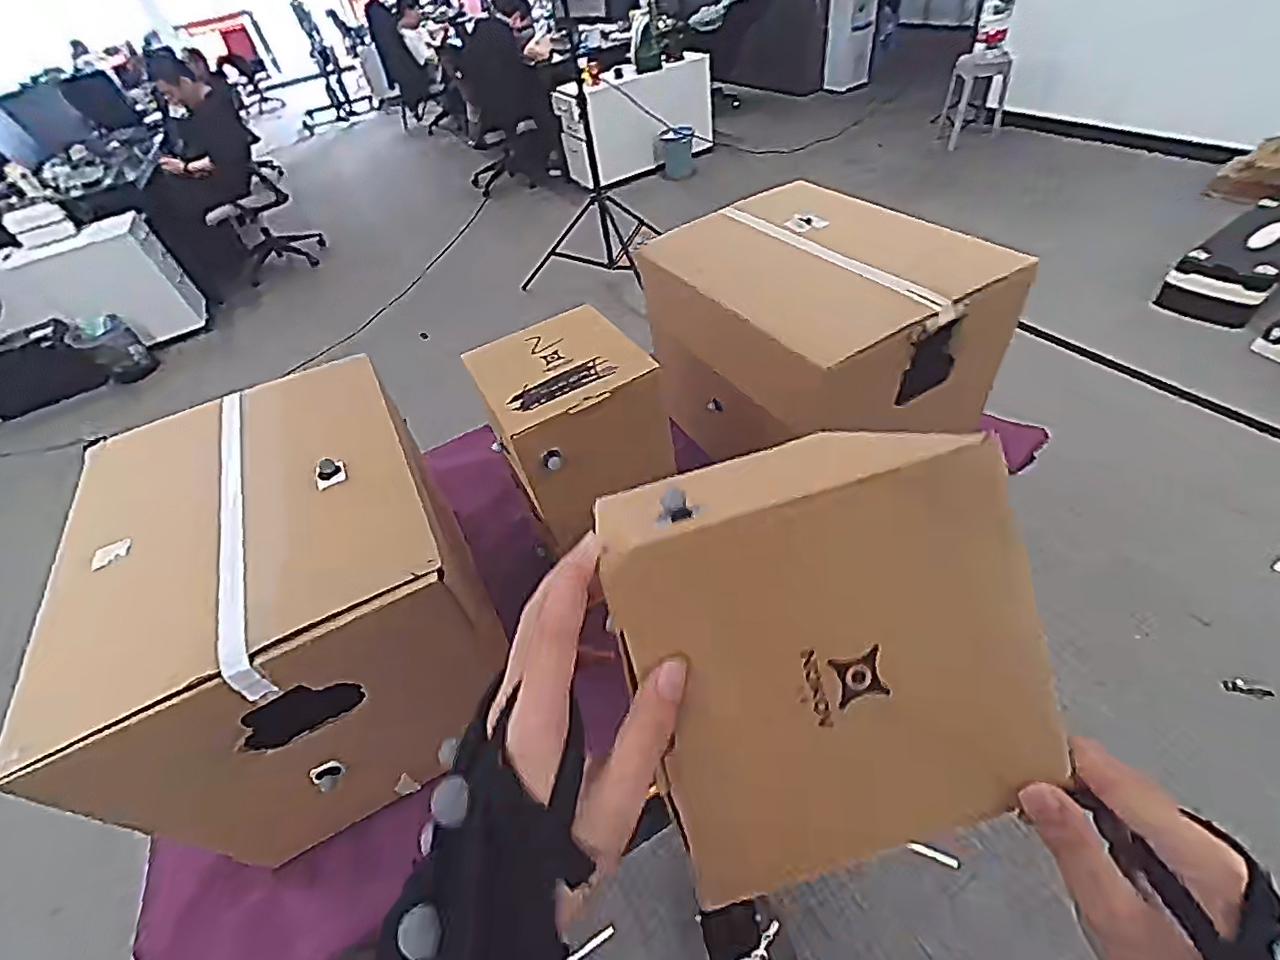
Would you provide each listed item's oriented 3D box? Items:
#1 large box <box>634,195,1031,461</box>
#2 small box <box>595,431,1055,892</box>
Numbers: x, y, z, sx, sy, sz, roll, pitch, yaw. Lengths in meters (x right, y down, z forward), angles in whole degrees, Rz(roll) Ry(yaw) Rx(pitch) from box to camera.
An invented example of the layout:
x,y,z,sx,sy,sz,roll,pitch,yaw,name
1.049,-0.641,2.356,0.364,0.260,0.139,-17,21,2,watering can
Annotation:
x,y,z,sx,sy,sz,roll,pitch,yaw,name
0.242,-0.174,0.803,0.320,0.320,0.408,-27,46,-14,large box
0.077,0.071,0.310,0.179,0.168,0.176,-17,6,-2,small box
